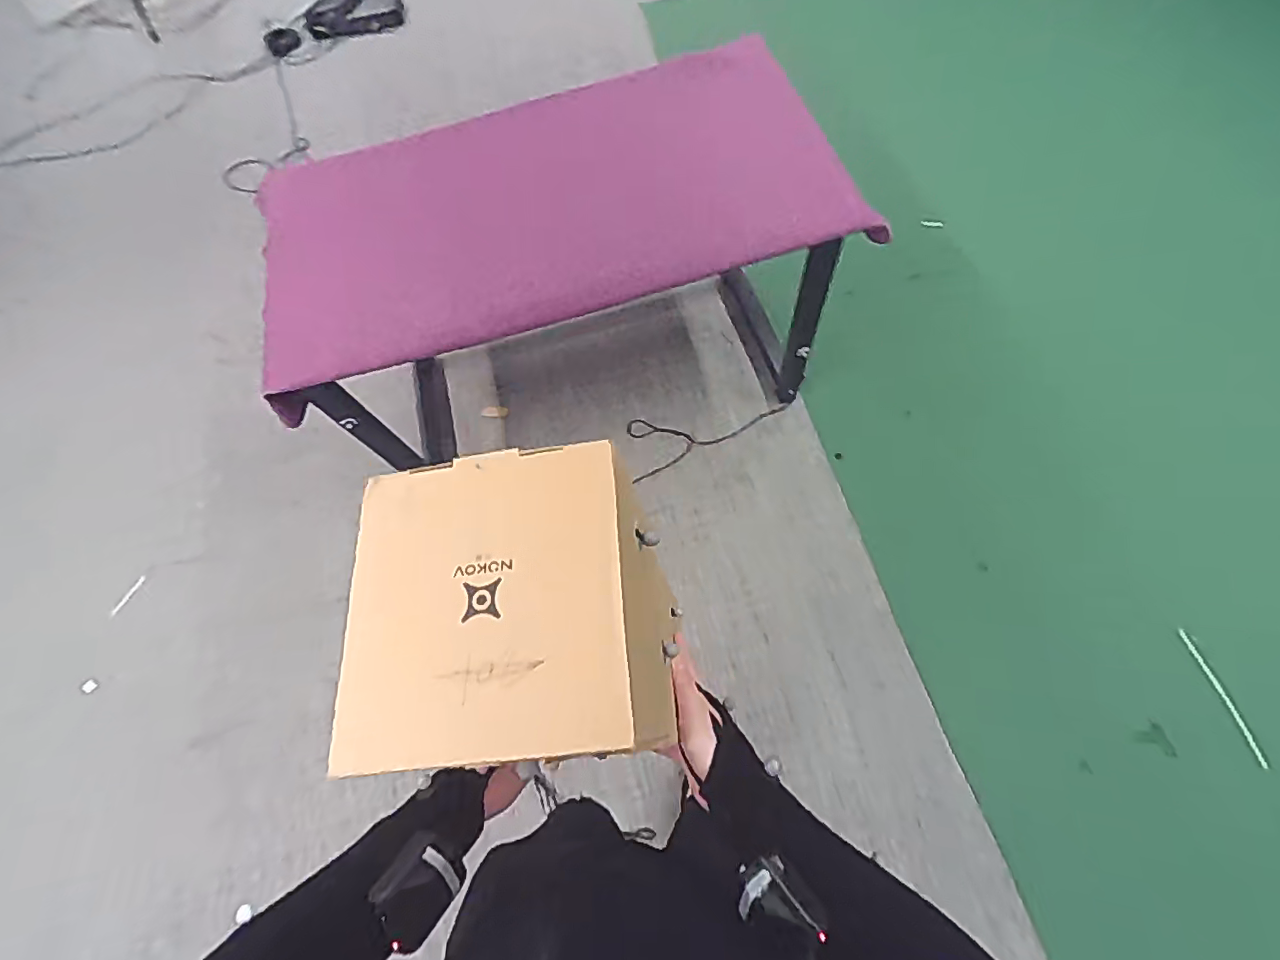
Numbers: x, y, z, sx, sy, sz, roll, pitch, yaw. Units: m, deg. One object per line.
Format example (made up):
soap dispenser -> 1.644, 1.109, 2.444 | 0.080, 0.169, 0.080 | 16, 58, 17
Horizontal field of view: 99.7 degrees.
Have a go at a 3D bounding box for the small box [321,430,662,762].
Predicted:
small box -> -0.081, 0.089, 0.380 | 0.168, 0.176, 0.179 | -9, 66, 6

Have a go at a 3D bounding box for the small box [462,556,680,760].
small box -> -0.058, 0.161, 0.524 | 0.168, 0.176, 0.179 | -9, 65, 6

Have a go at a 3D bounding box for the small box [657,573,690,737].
small box -> -0.034, 0.226, 0.674 | 0.168, 0.176, 0.179 | -9, 65, 6
